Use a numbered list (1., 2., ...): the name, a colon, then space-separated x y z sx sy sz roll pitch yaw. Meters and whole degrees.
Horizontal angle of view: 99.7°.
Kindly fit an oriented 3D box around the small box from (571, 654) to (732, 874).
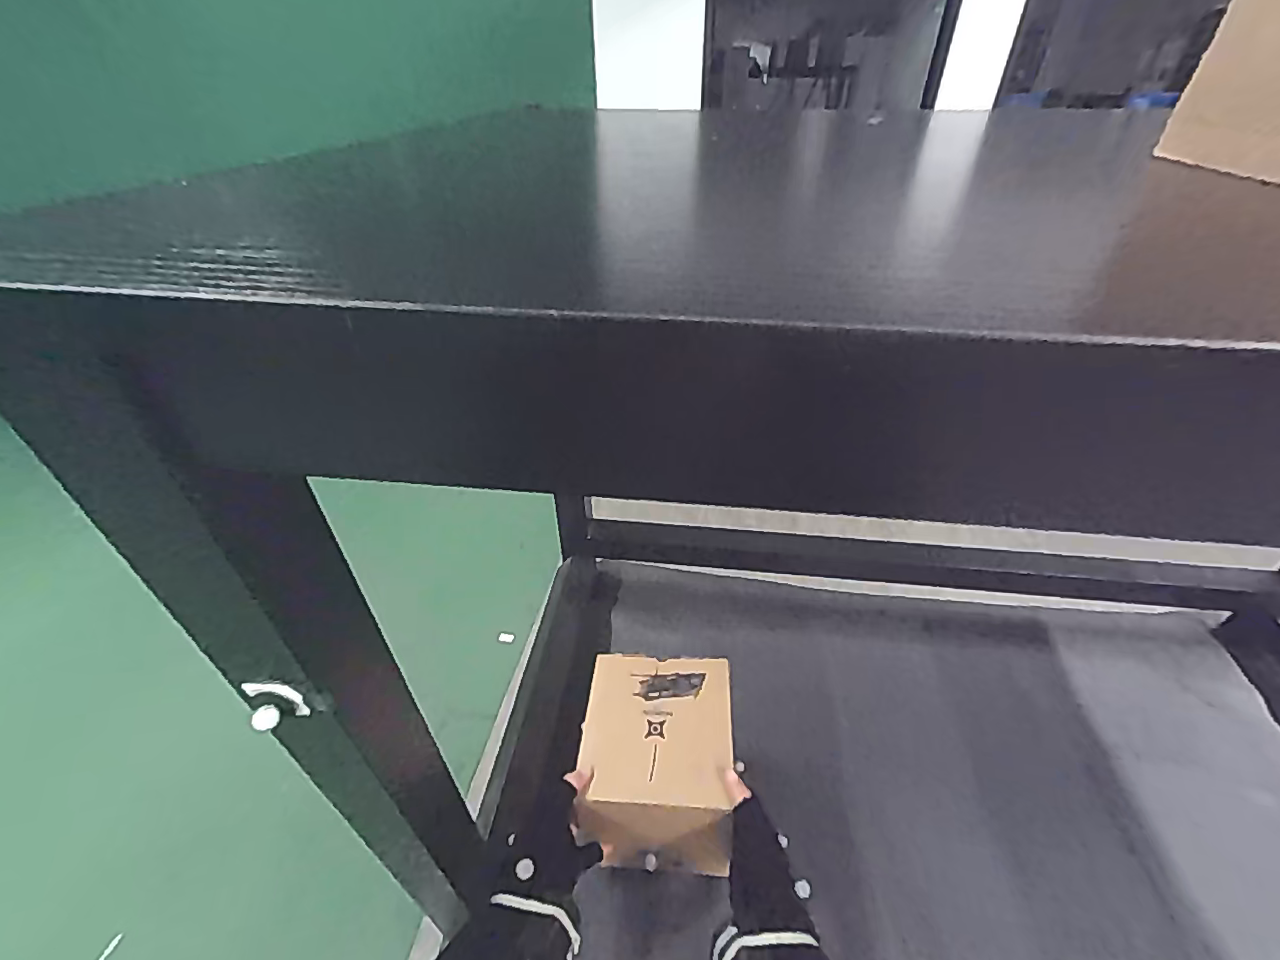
1. small box: 0.023 0.337 0.653 0.168 0.176 0.179 0 36 7
